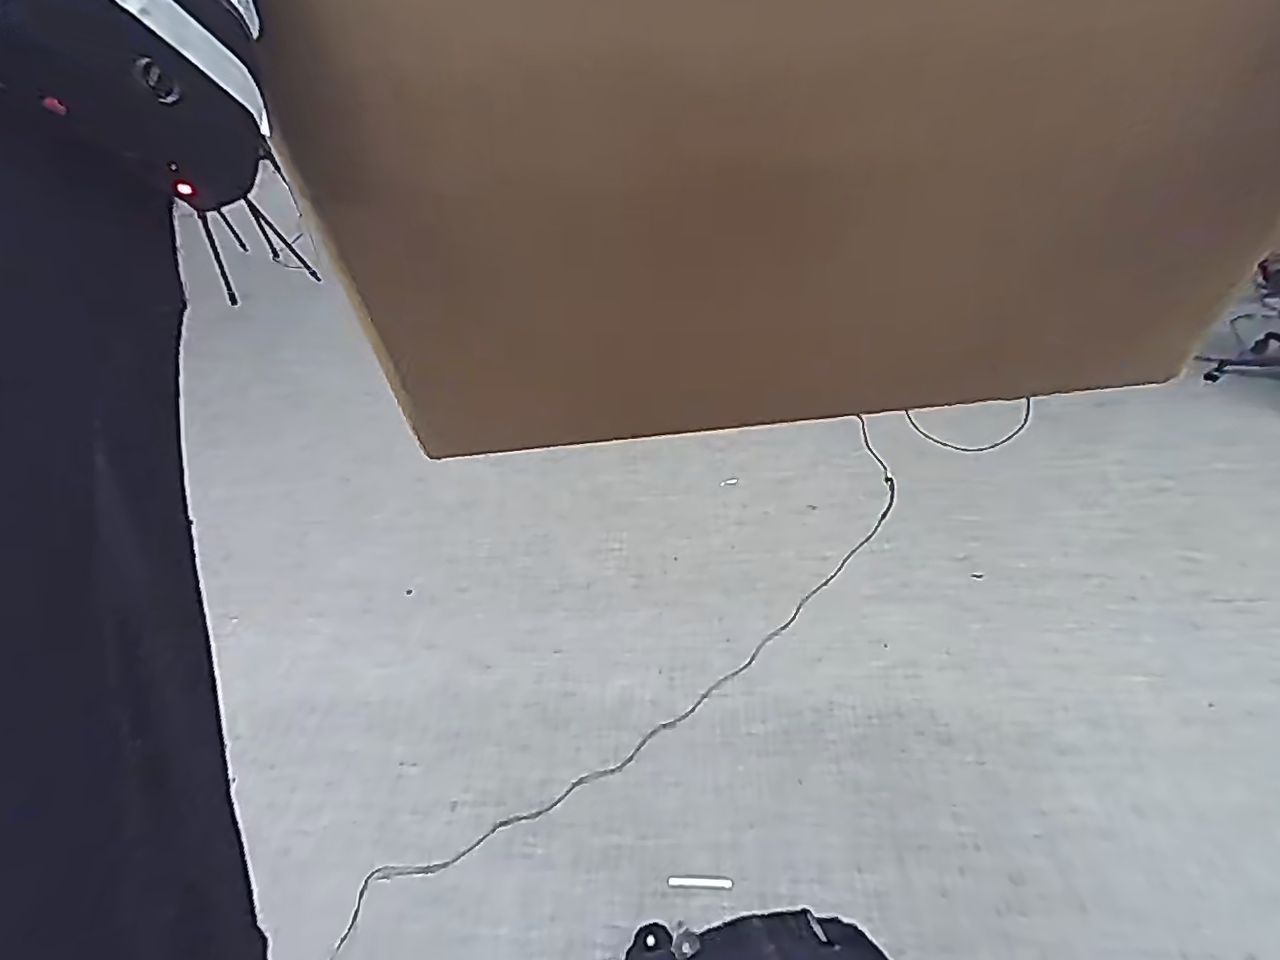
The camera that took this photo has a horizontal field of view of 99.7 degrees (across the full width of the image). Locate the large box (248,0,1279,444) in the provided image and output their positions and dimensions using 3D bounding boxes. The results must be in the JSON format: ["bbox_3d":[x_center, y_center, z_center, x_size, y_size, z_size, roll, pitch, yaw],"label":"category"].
[{"bbox_3d":[0.058,-0.248,0.308,0.408,0.320,0.320,-6,44,0],"label":"large box"}]
